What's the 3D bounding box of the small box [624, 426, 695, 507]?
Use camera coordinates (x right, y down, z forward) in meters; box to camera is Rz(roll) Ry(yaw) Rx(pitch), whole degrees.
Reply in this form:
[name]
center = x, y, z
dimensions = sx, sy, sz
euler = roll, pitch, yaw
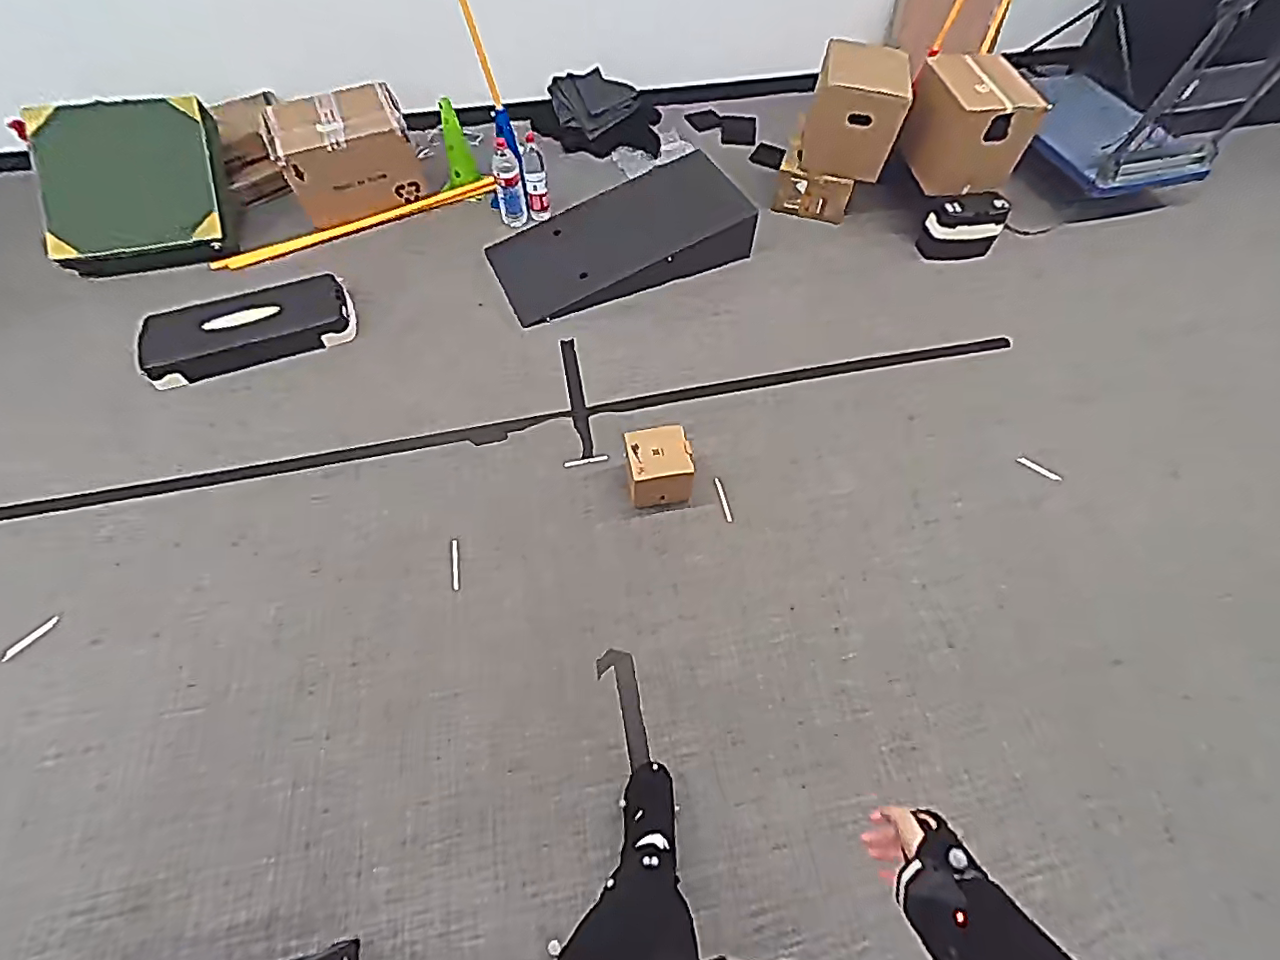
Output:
[small box]
center = 0.051, -0.036, 1.583
dimensions = 0.179, 0.176, 0.168
euler = -8, 60, -7
